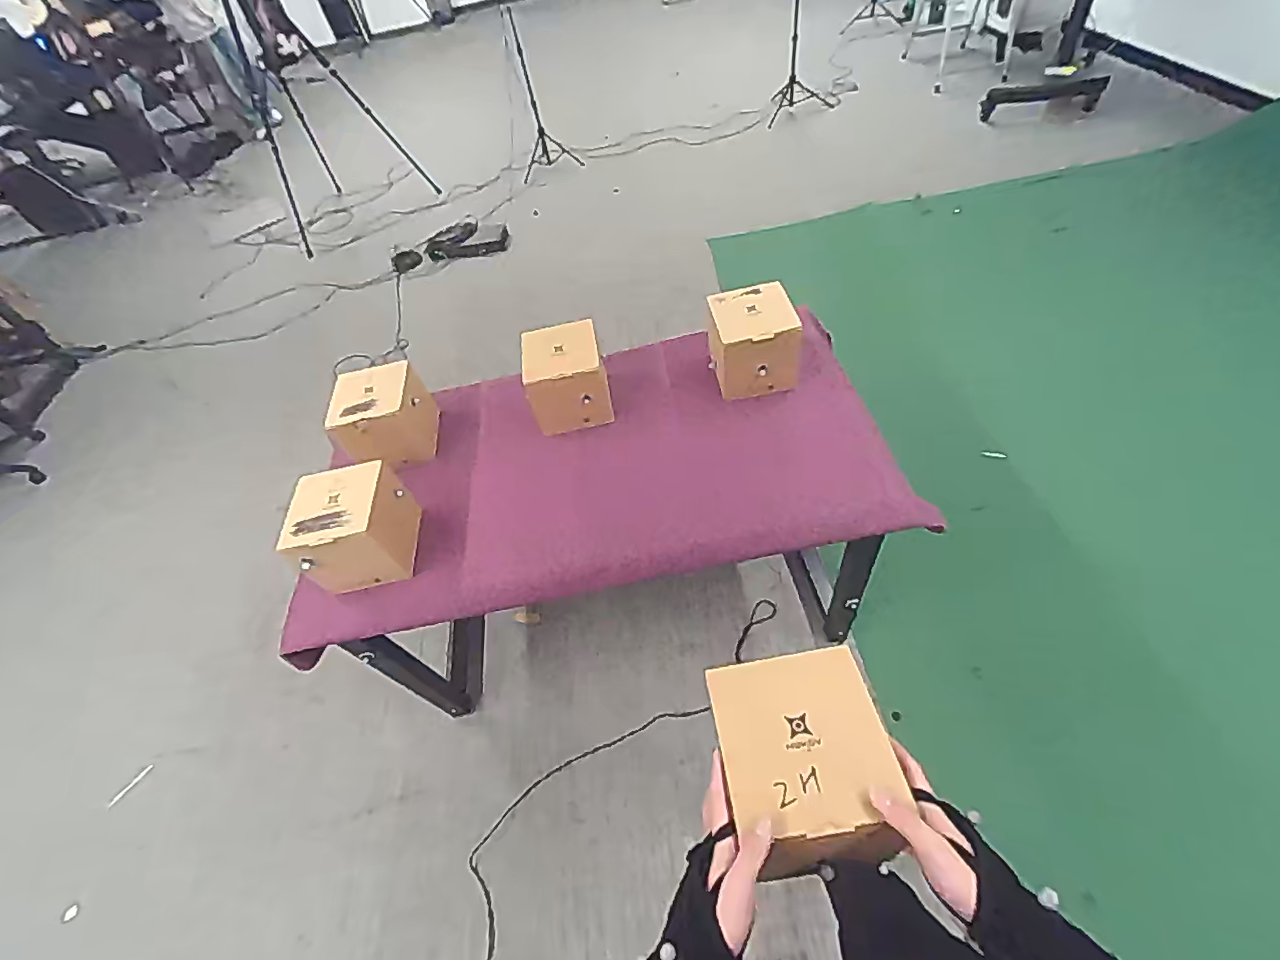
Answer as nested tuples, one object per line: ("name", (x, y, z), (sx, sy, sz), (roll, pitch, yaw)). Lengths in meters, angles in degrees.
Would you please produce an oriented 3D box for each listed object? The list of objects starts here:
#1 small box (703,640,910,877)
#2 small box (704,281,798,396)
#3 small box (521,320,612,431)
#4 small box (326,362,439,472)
("small box", (0.171, 0.310, 0.605), (0.168, 0.176, 0.179), (-12, 42, 4))
("small box", (0.243, -0.306, 1.200), (0.168, 0.176, 0.179), (-12, 52, 3))
("small box", (-0.165, -0.228, 1.227), (0.168, 0.176, 0.179), (-12, 52, 2))
("small box", (-0.578, -0.135, 1.237), (0.168, 0.176, 0.179), (-13, 51, 1))
